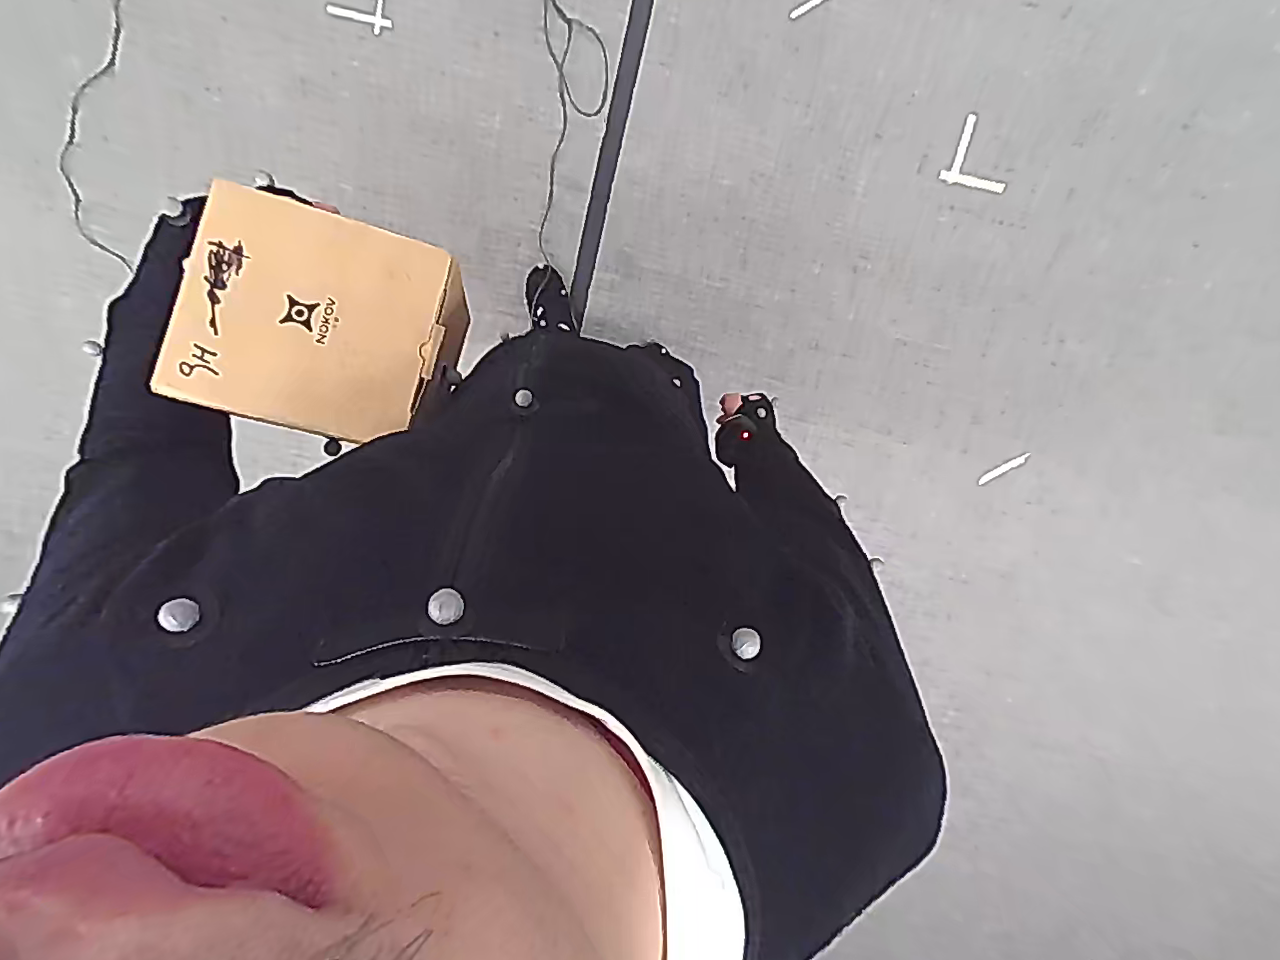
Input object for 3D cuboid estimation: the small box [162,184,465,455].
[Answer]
[{"bbox_3d":[-0.268,-0.122,0.495,0.179,0.176,0.168,15,85,-14],"label":"small box"}]
